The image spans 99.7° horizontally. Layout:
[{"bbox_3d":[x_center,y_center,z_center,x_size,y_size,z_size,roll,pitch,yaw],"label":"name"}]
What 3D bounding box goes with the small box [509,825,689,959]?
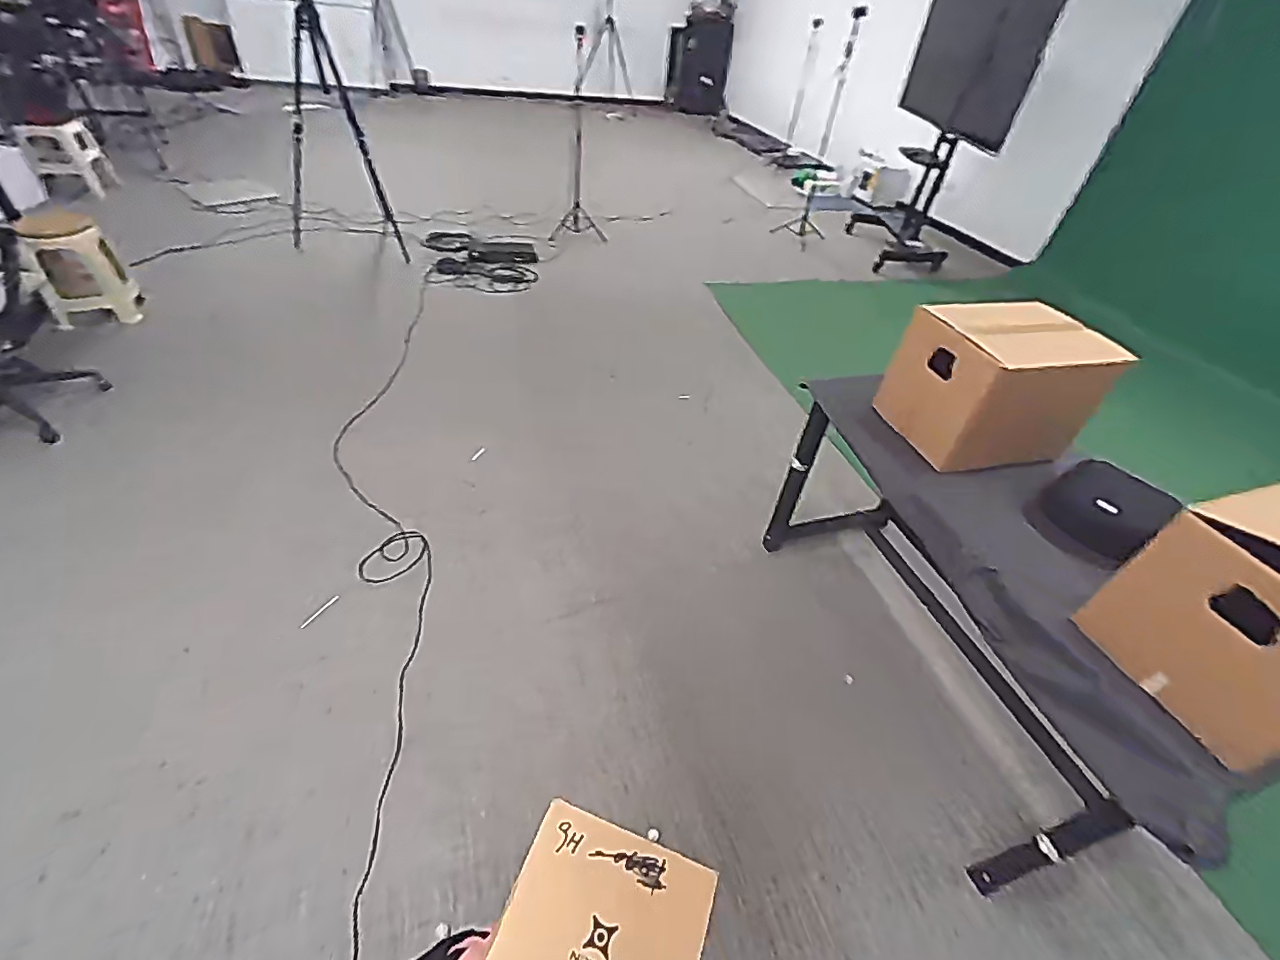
[{"bbox_3d":[-0.050,0.546,0.628,0.168,0.176,0.179,16,45,9],"label":"small box"}]
